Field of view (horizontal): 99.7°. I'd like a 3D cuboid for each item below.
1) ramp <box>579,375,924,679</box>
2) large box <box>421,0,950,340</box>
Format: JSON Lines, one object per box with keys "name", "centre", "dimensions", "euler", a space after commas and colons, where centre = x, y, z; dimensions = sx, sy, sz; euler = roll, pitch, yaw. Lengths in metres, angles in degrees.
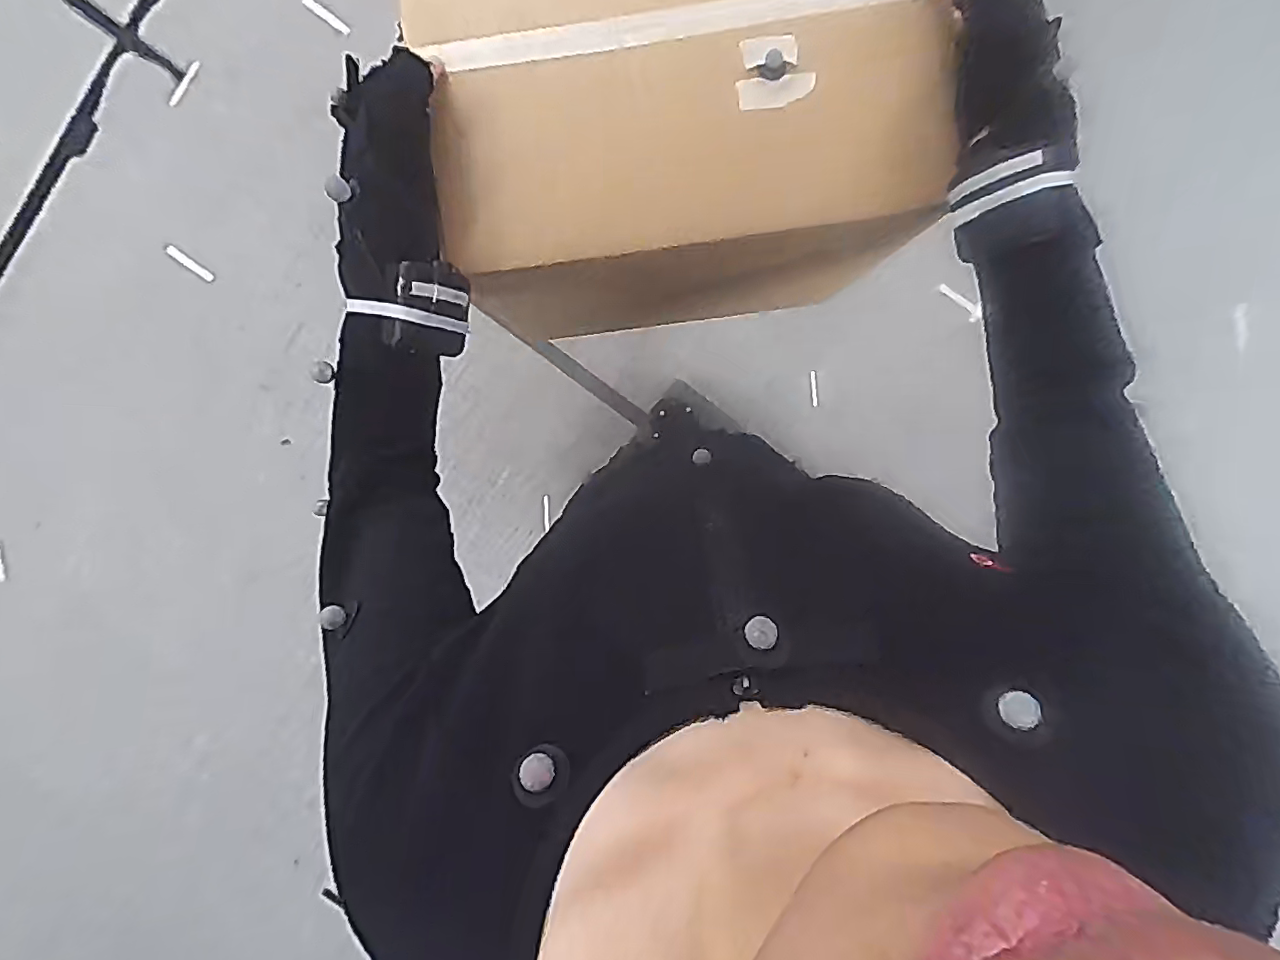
{"name": "ramp", "centre": [0.362, 0.174, 1.596], "dimensions": [0.991, 0.206, 0.509], "euler": [33, 93, -4]}
{"name": "large box", "centre": [0.032, -0.355, 0.572], "dimensions": [0.408, 0.320, 0.320], "euler": [-7, 95, 1]}
